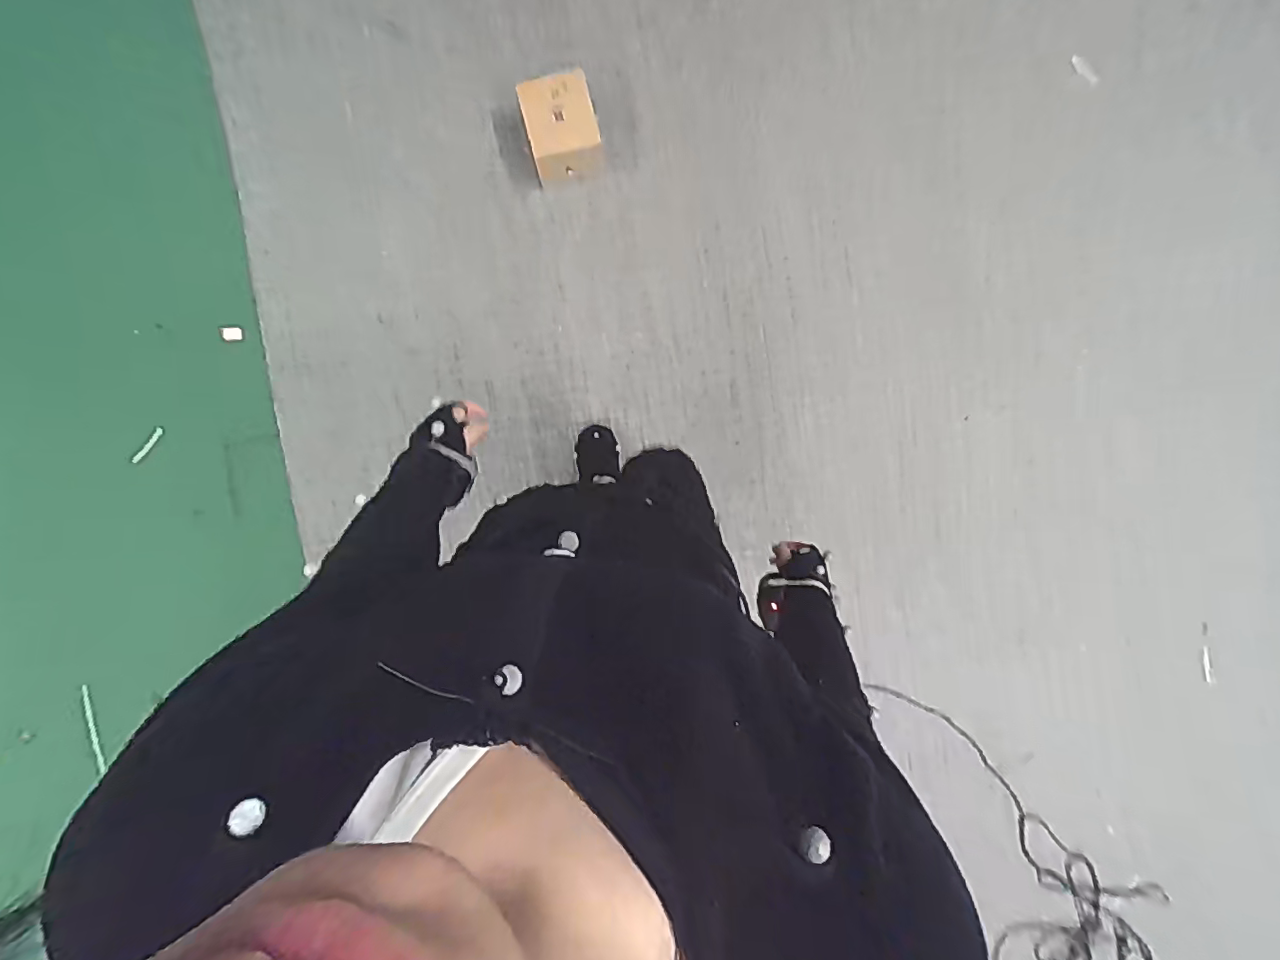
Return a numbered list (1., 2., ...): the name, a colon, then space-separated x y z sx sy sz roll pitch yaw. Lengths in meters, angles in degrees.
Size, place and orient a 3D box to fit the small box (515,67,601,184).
1. small box: -0.194 -0.862 1.337 0.168 0.176 0.179 -15 96 -2
